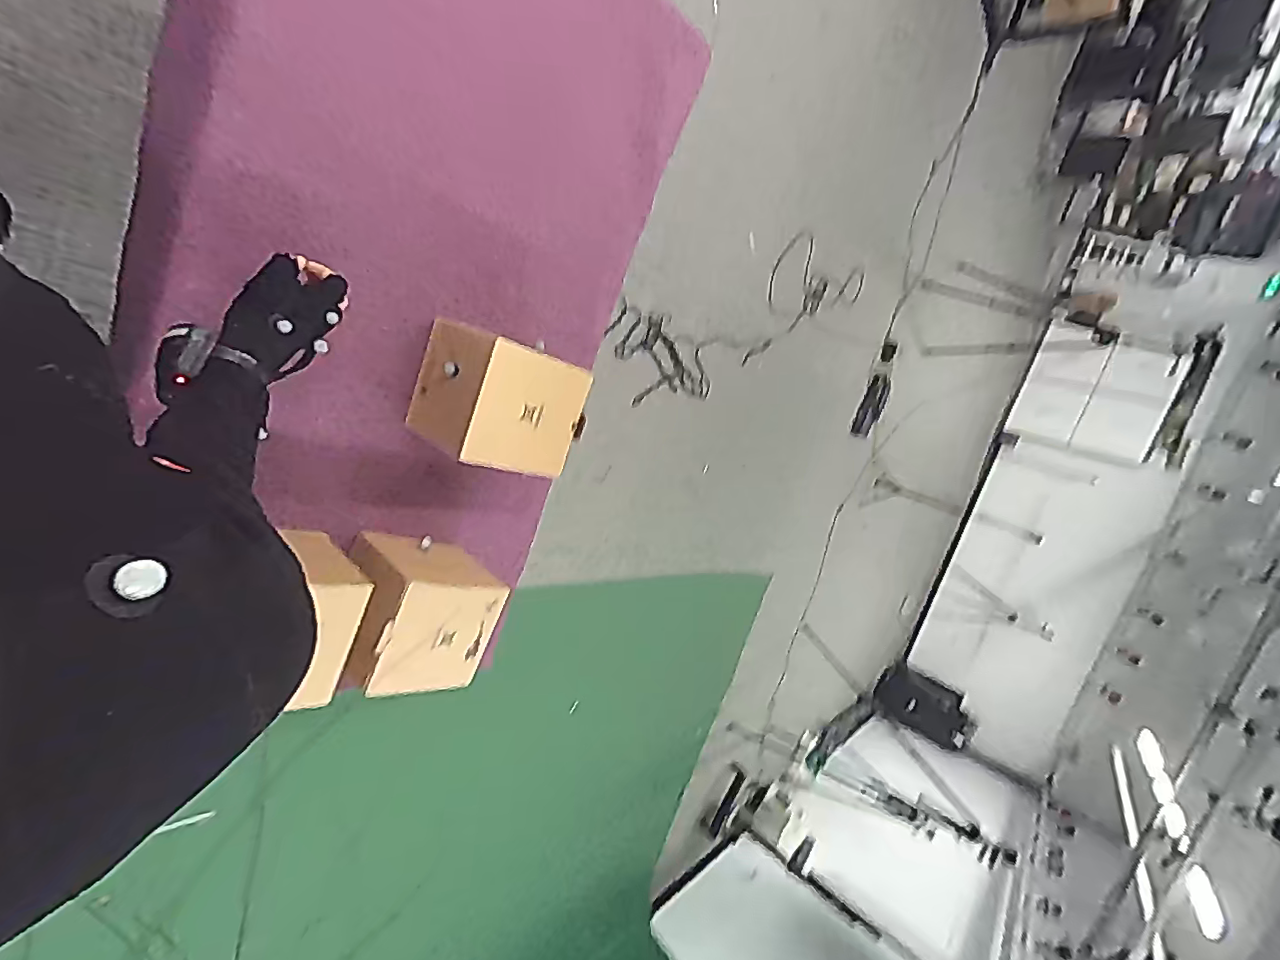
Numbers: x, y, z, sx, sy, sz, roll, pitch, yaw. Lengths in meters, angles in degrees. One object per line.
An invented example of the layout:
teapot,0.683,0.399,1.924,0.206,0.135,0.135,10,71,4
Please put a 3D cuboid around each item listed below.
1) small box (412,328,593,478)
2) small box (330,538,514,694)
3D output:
small box,-0.206,-0.115,0.799,0.179,0.176,0.168,10,102,-52
small box,-0.333,0.200,0.818,0.179,0.176,0.168,22,93,-51
